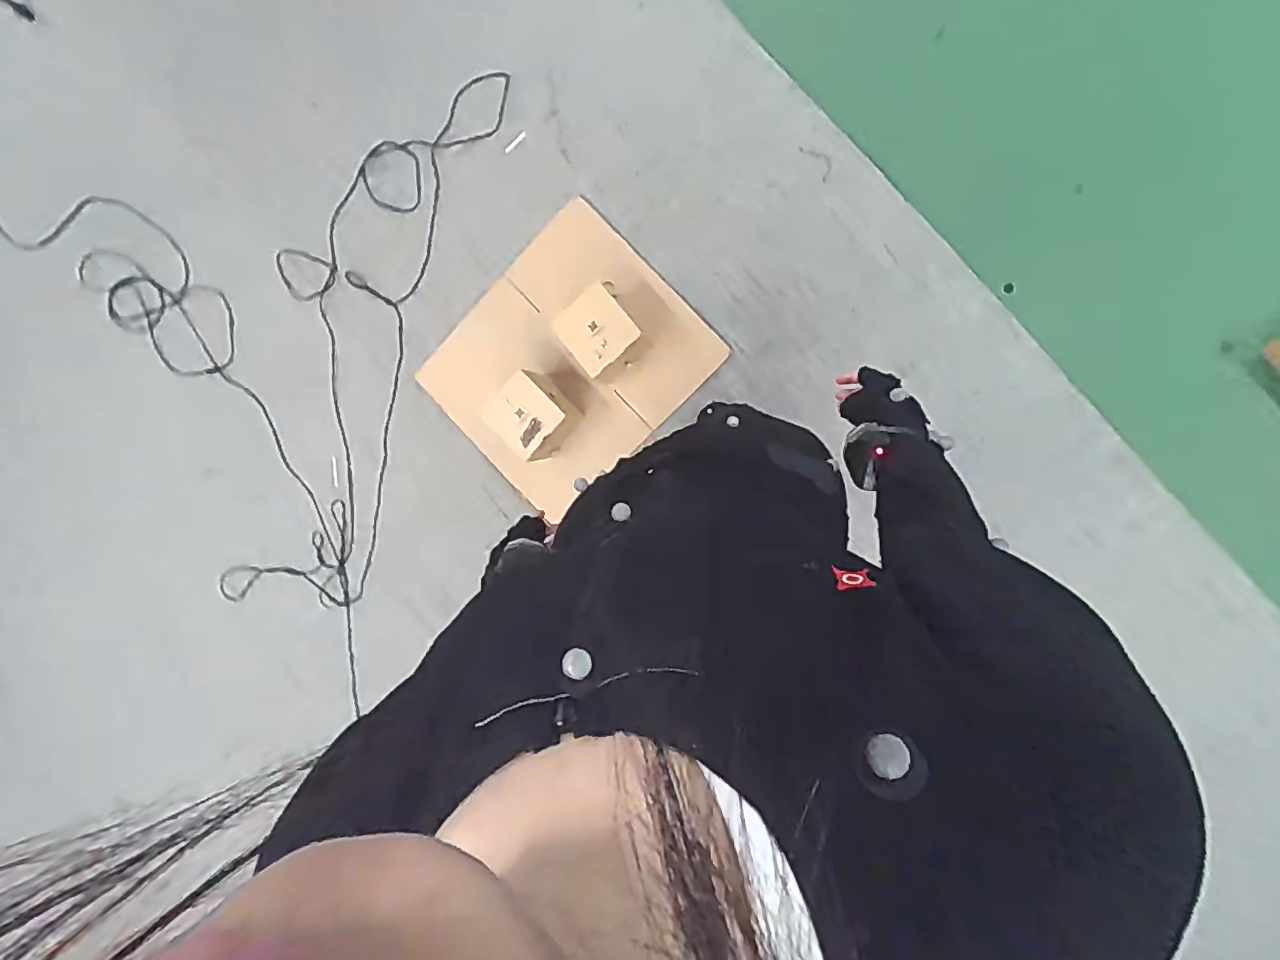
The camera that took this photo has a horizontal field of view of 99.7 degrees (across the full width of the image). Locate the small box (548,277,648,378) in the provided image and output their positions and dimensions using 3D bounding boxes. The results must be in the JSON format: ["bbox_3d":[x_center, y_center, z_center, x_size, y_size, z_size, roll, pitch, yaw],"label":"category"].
[{"bbox_3d":[-0.101,-0.379,1.384,0.168,0.176,0.179,-40,89,12],"label":"small box"}]

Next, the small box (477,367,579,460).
[{"bbox_3d":[-0.287,-0.175,1.432,0.179,0.176,0.168,44,101,4],"label":"small box"}]
